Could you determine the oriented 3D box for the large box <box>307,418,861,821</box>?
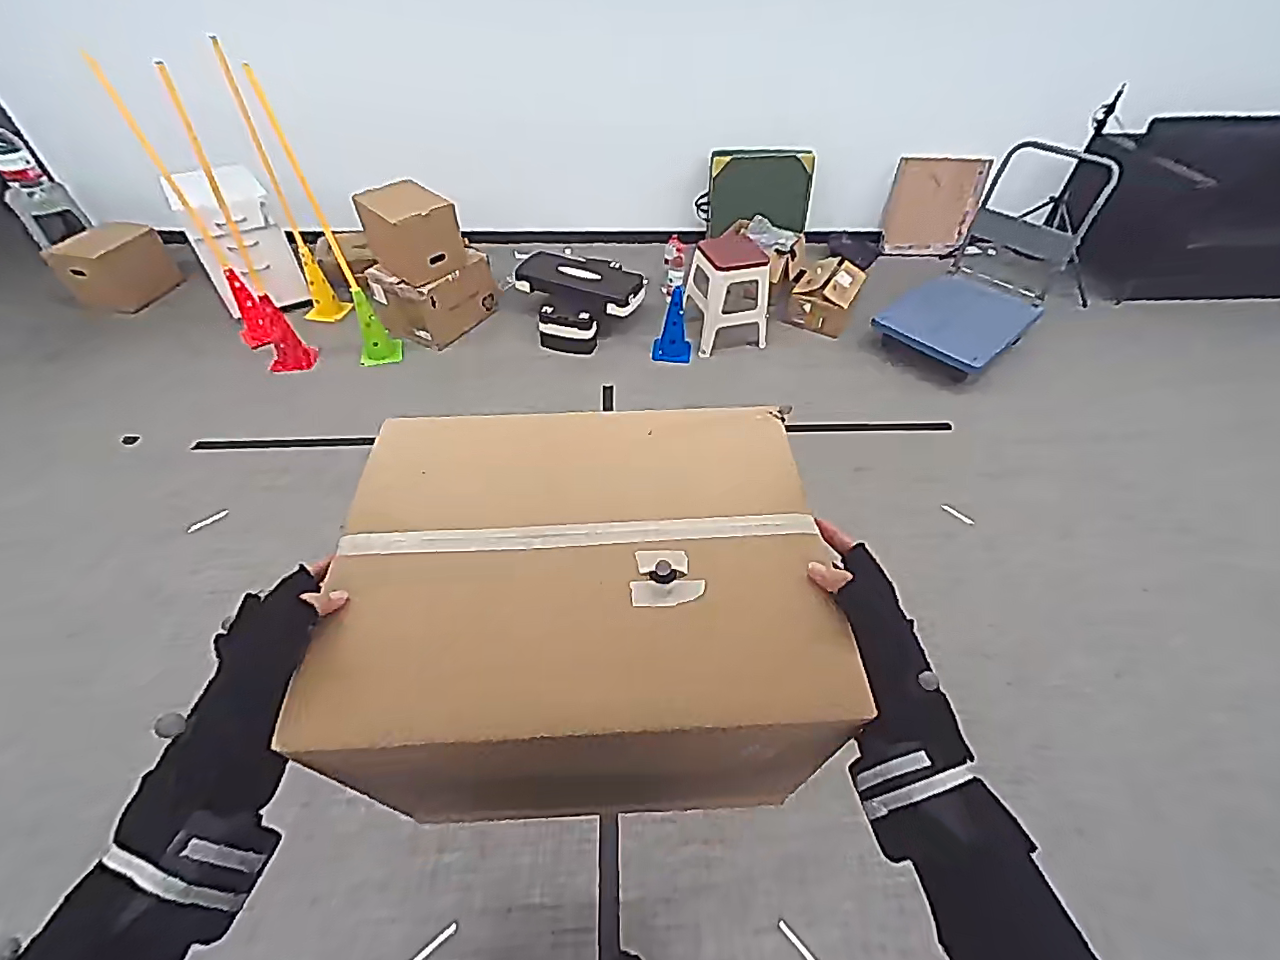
[{"bbox_3d":[-0.046,0.155,0.591,0.408,0.320,0.320,-2,50,-2],"label":"large box"}]
